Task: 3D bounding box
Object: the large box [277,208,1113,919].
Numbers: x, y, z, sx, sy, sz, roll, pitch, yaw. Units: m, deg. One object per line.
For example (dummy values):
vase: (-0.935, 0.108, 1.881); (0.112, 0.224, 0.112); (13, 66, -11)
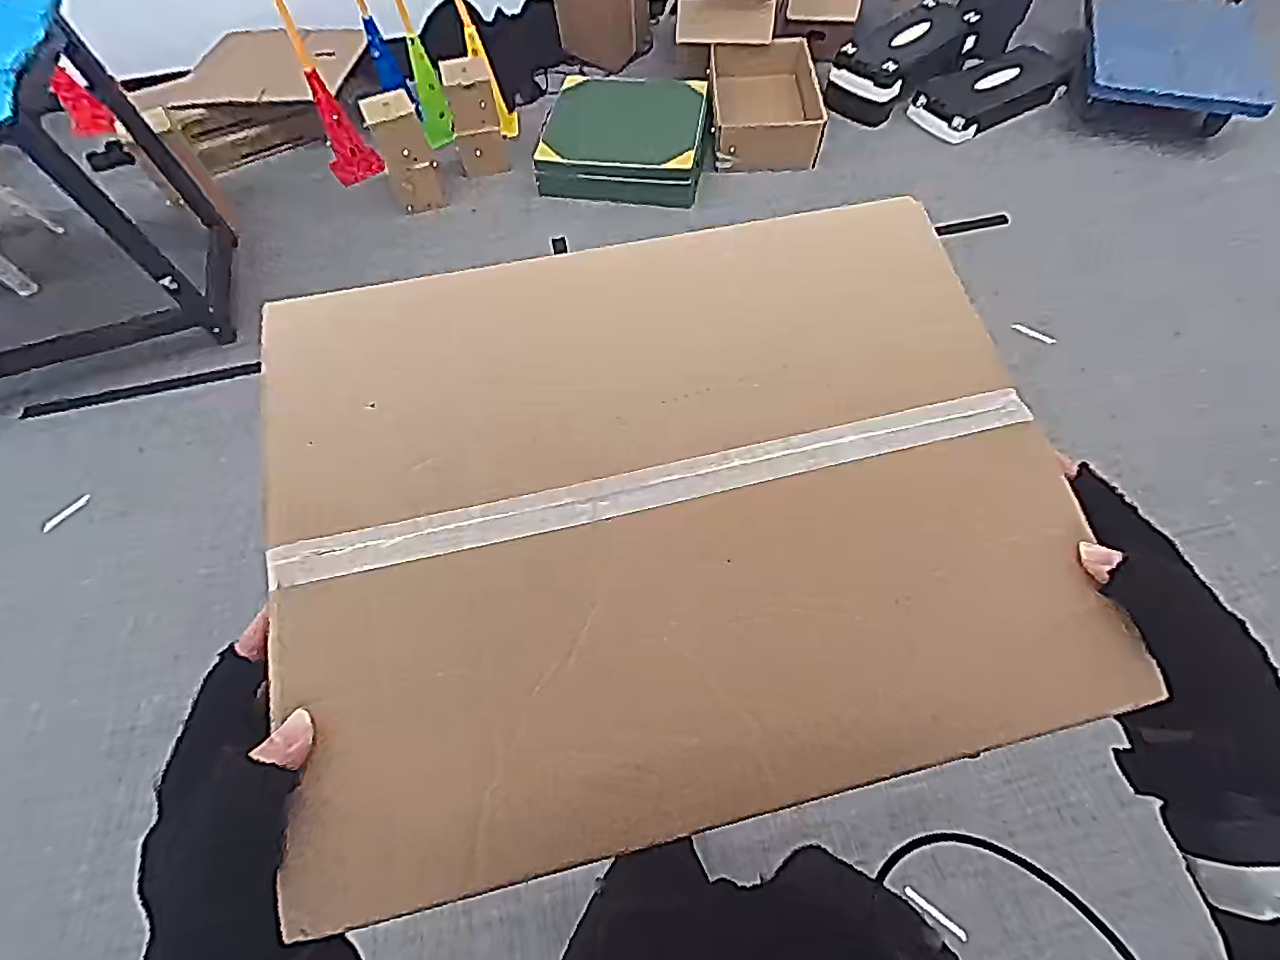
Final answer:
large box: (0.011, 0.049, 0.437); (0.408, 0.320, 0.320); (-13, 72, -5)
